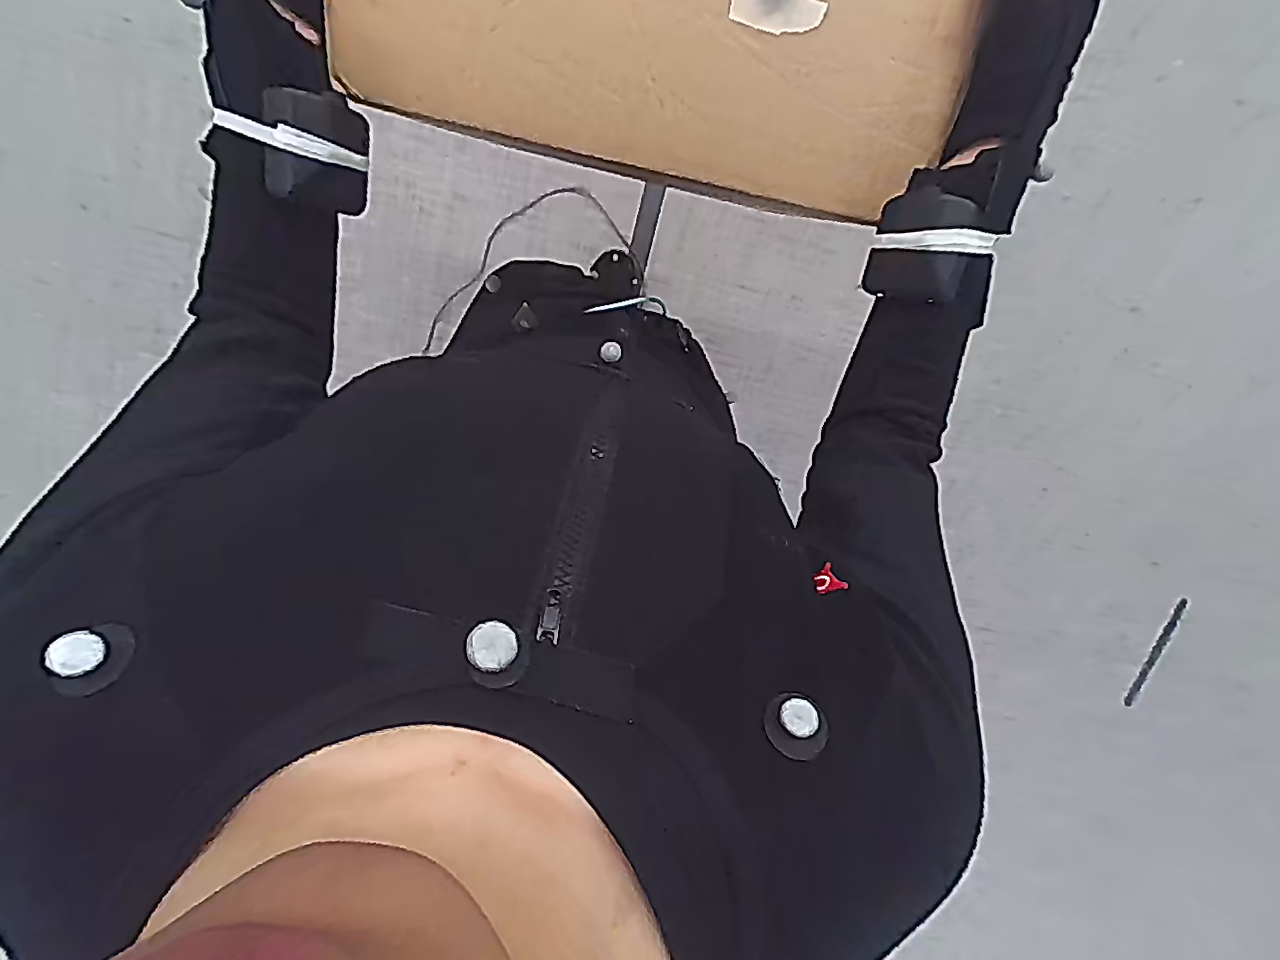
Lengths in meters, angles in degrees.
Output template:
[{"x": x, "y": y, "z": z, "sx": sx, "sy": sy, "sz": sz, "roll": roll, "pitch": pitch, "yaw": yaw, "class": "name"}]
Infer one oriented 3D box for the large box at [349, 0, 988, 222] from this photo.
[{"x": 0.026, "y": -0.423, "z": 0.444, "sx": 0.408, "sy": 0.320, "sz": 0.320, "roll": 9, "pitch": 119, "yaw": -7, "class": "large box"}]
